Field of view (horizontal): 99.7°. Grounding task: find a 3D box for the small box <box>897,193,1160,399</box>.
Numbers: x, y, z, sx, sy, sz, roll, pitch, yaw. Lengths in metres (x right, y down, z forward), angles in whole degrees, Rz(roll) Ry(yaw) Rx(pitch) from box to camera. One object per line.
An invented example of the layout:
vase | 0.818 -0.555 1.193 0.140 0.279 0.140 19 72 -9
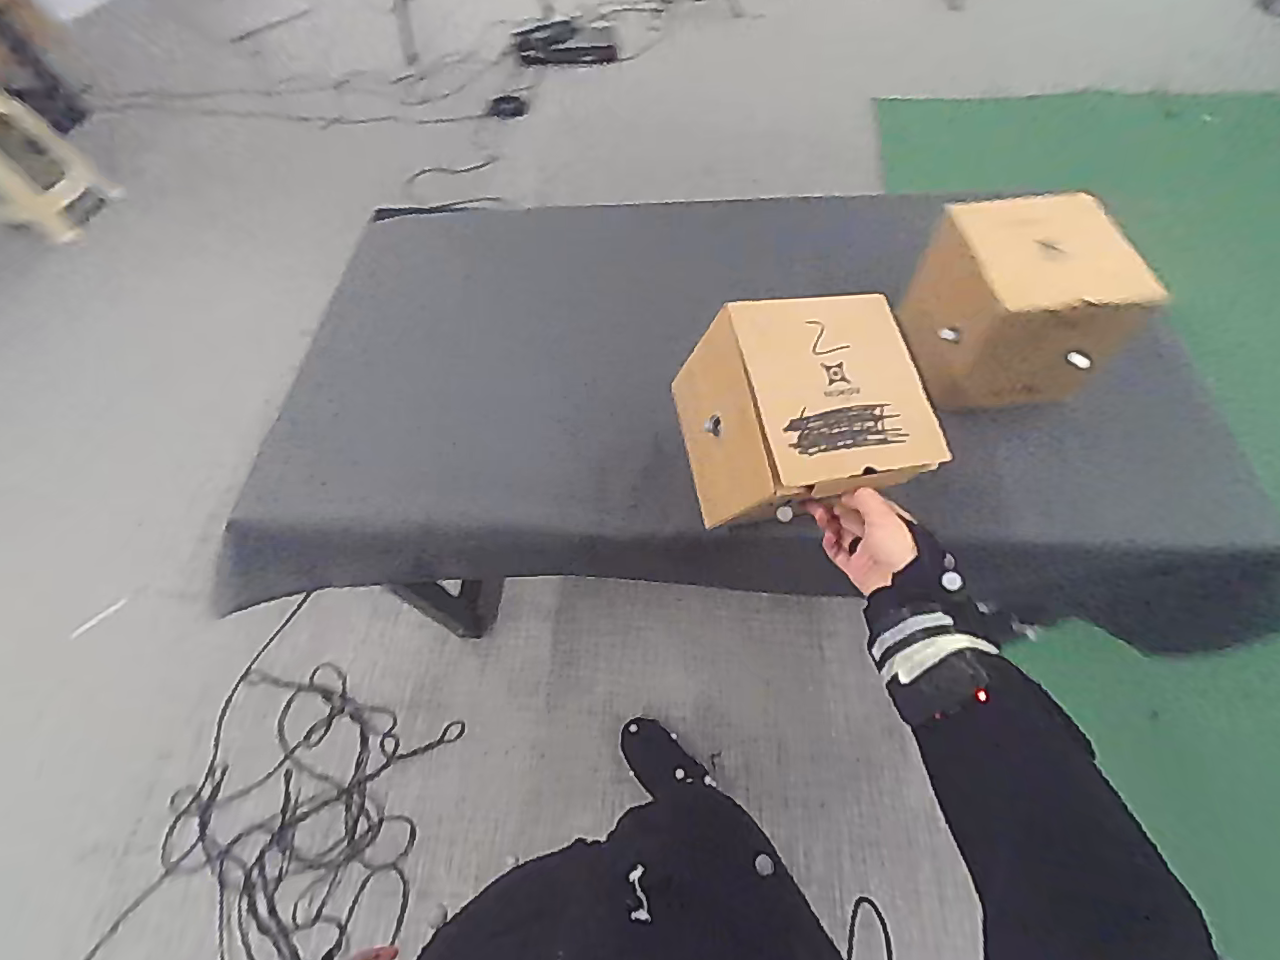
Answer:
small box | 0.442 -0.211 0.654 0.168 0.176 0.179 -5 59 0
